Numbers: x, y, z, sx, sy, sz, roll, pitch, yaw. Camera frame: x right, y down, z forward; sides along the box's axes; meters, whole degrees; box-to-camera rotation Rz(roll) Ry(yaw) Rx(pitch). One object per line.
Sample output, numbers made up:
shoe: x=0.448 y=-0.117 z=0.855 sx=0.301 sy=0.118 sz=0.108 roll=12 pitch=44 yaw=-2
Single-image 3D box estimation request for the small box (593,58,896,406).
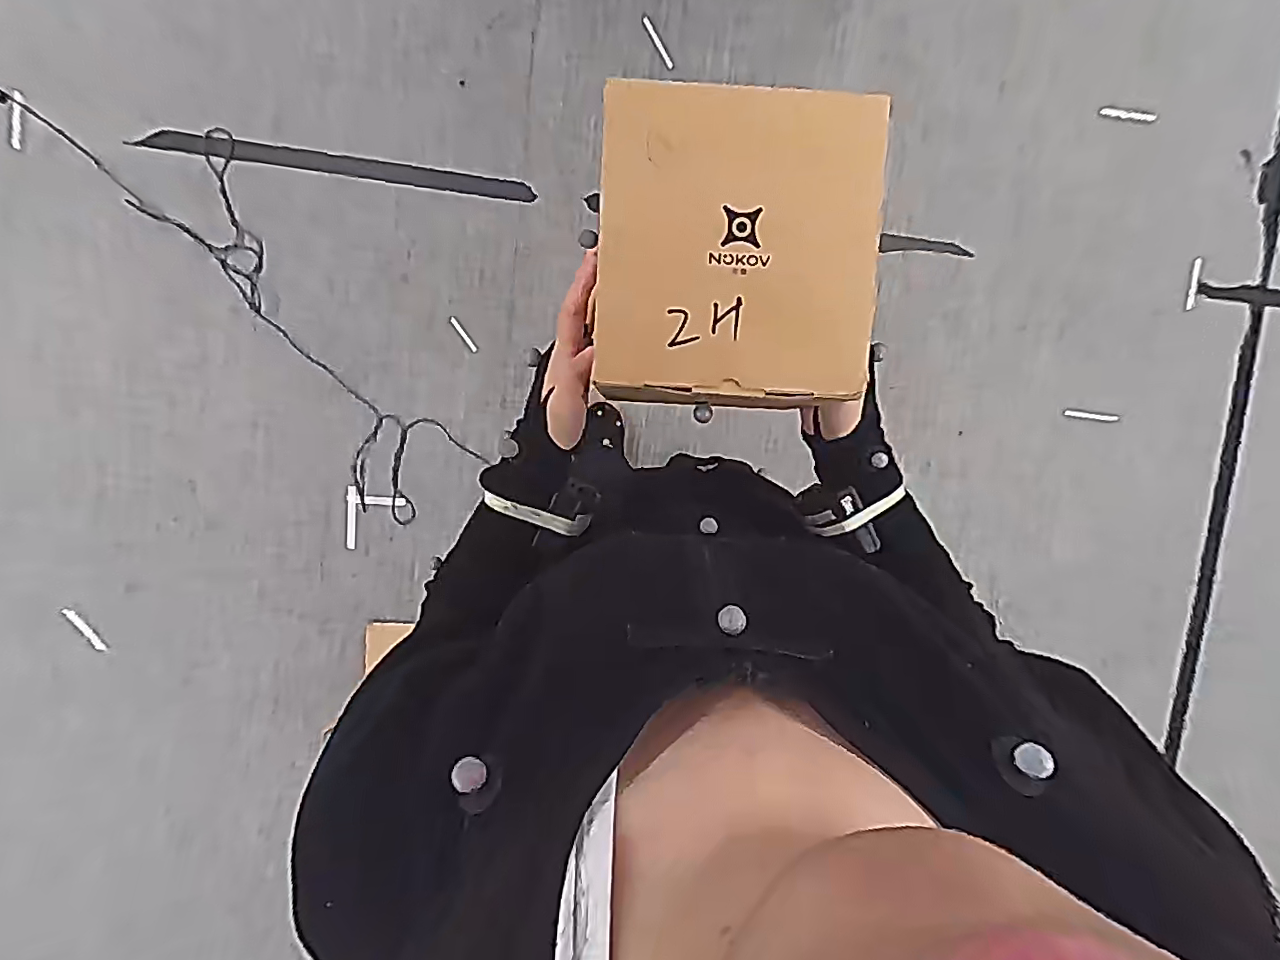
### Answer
small box: x=0.057 y=-0.150 z=0.387 sx=0.168 sy=0.176 sz=0.179 roll=3 pitch=95 yaw=-1
